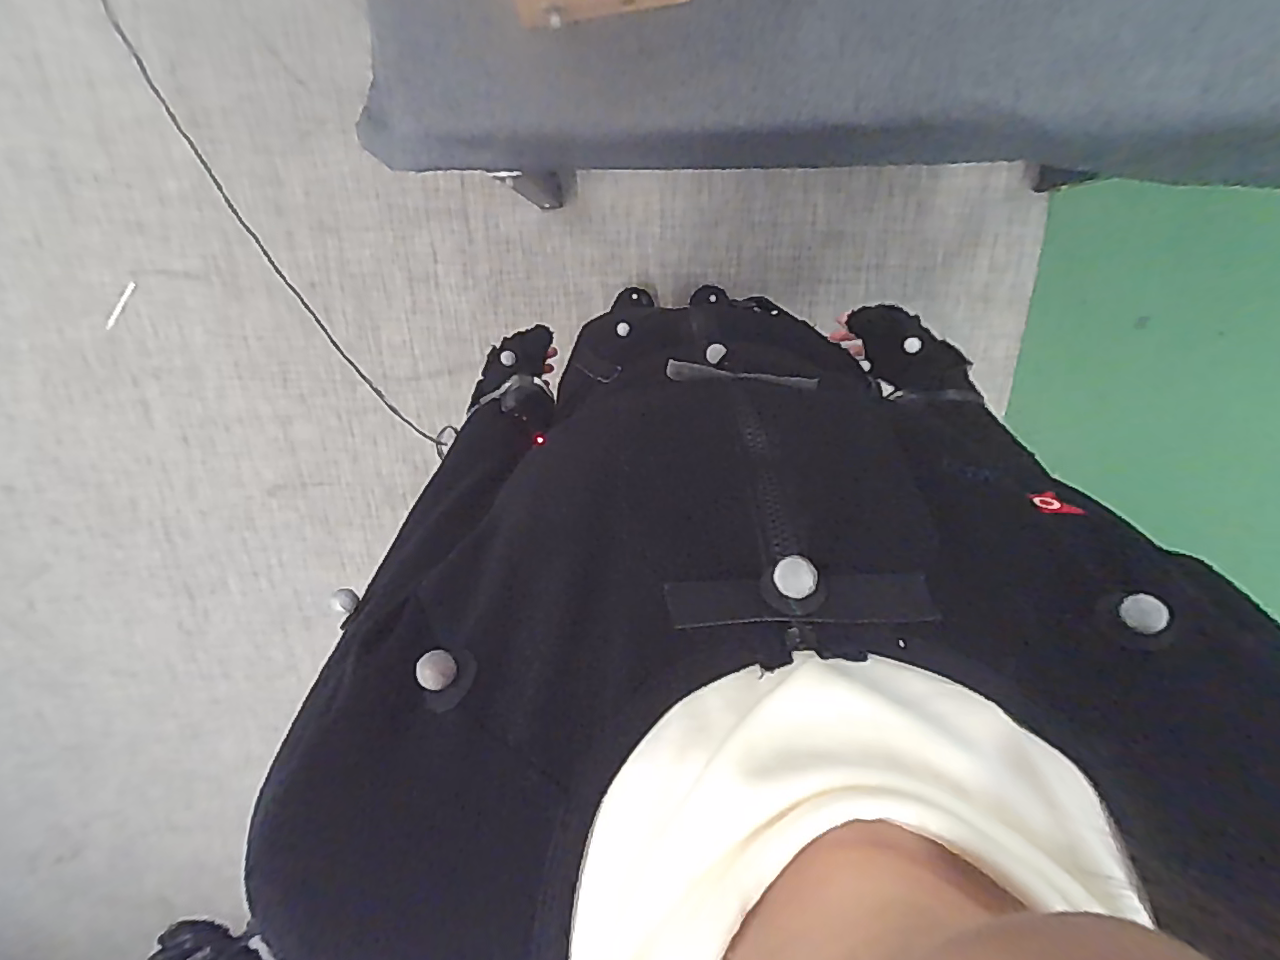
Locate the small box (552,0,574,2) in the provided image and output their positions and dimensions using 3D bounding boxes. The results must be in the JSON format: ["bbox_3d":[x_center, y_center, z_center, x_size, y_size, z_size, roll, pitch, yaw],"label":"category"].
[{"bbox_3d":[-0.036,-0.523,0.427,0.168,0.176,0.179,-7,108,3],"label":"small box"}]
